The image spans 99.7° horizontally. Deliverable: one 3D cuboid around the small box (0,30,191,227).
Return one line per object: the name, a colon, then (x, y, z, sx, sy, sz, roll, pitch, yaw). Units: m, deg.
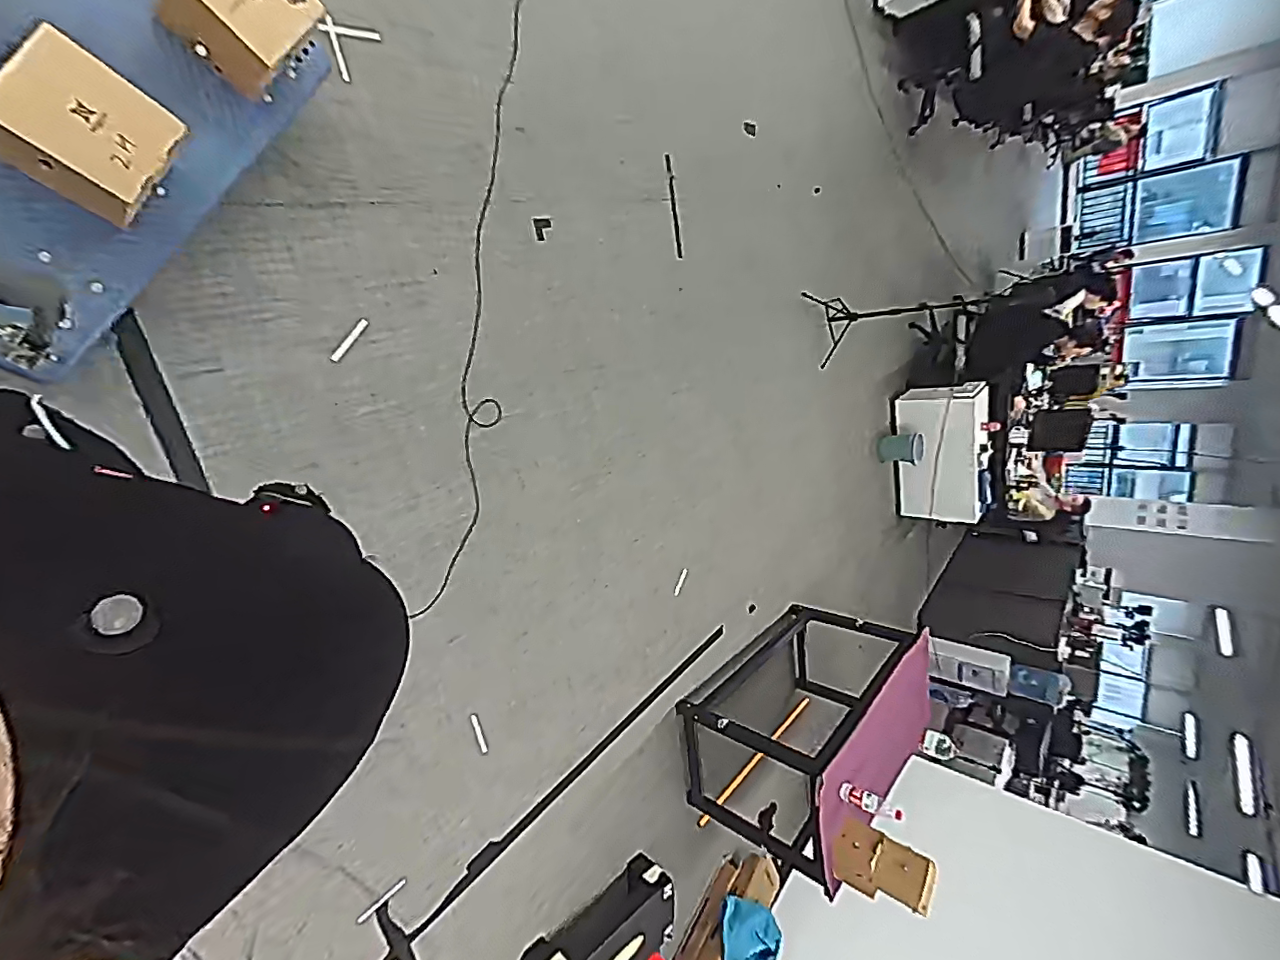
small box: (-0.867, -0.535, 0.854, 0.179, 0.176, 0.168, 35, 69, -43)

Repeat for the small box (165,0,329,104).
small box: (-0.715, -0.838, 0.981, 0.168, 0.176, 0.179, 42, 66, -41)
